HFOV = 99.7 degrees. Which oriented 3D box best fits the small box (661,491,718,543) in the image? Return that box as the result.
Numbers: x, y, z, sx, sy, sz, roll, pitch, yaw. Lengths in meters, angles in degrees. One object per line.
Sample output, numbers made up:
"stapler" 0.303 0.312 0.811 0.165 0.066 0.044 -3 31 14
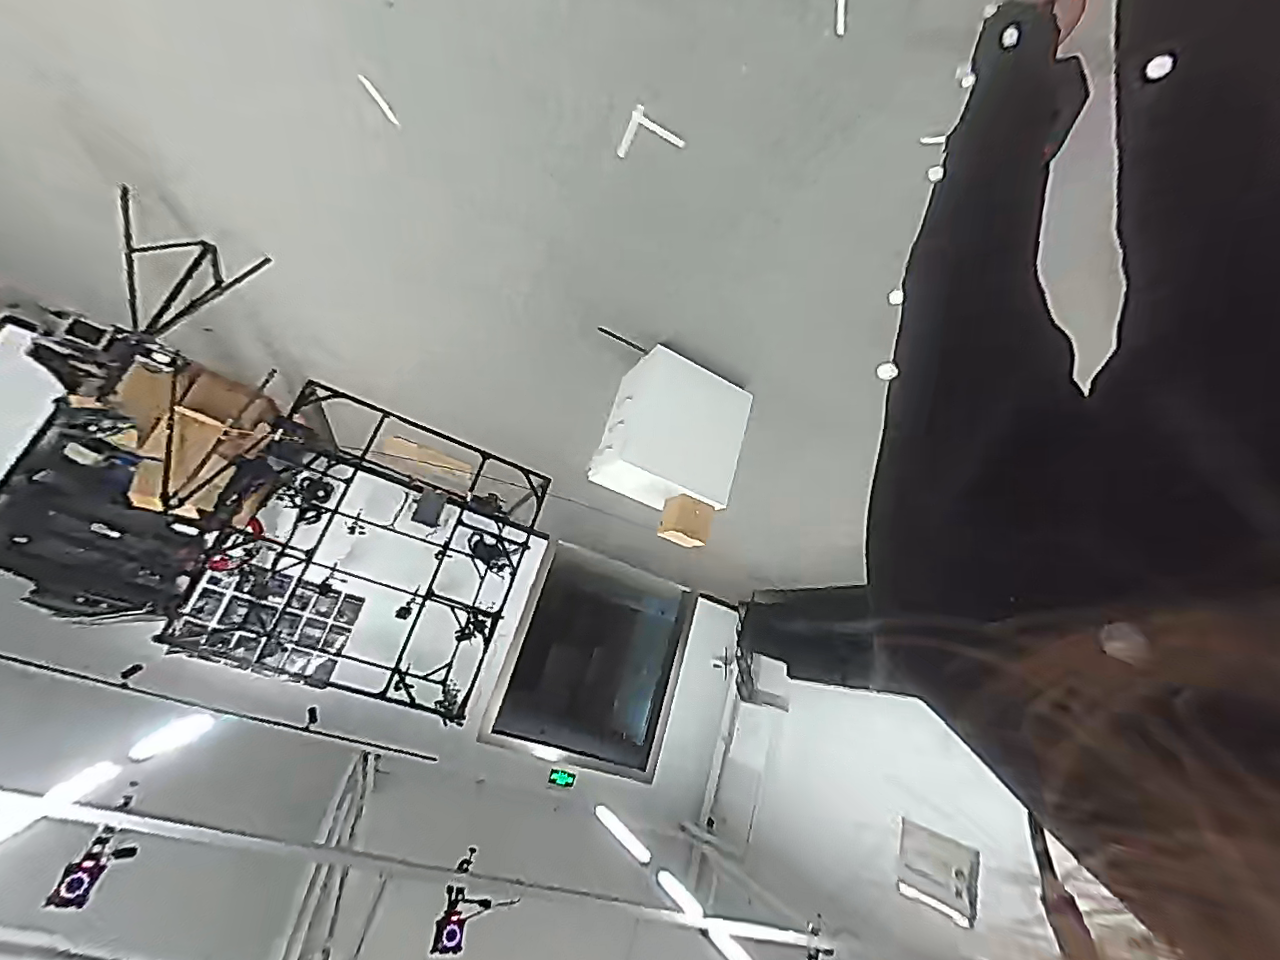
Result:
"small box" 0.218 0.162 2.345 0.168 0.176 0.179 24 161 -17
